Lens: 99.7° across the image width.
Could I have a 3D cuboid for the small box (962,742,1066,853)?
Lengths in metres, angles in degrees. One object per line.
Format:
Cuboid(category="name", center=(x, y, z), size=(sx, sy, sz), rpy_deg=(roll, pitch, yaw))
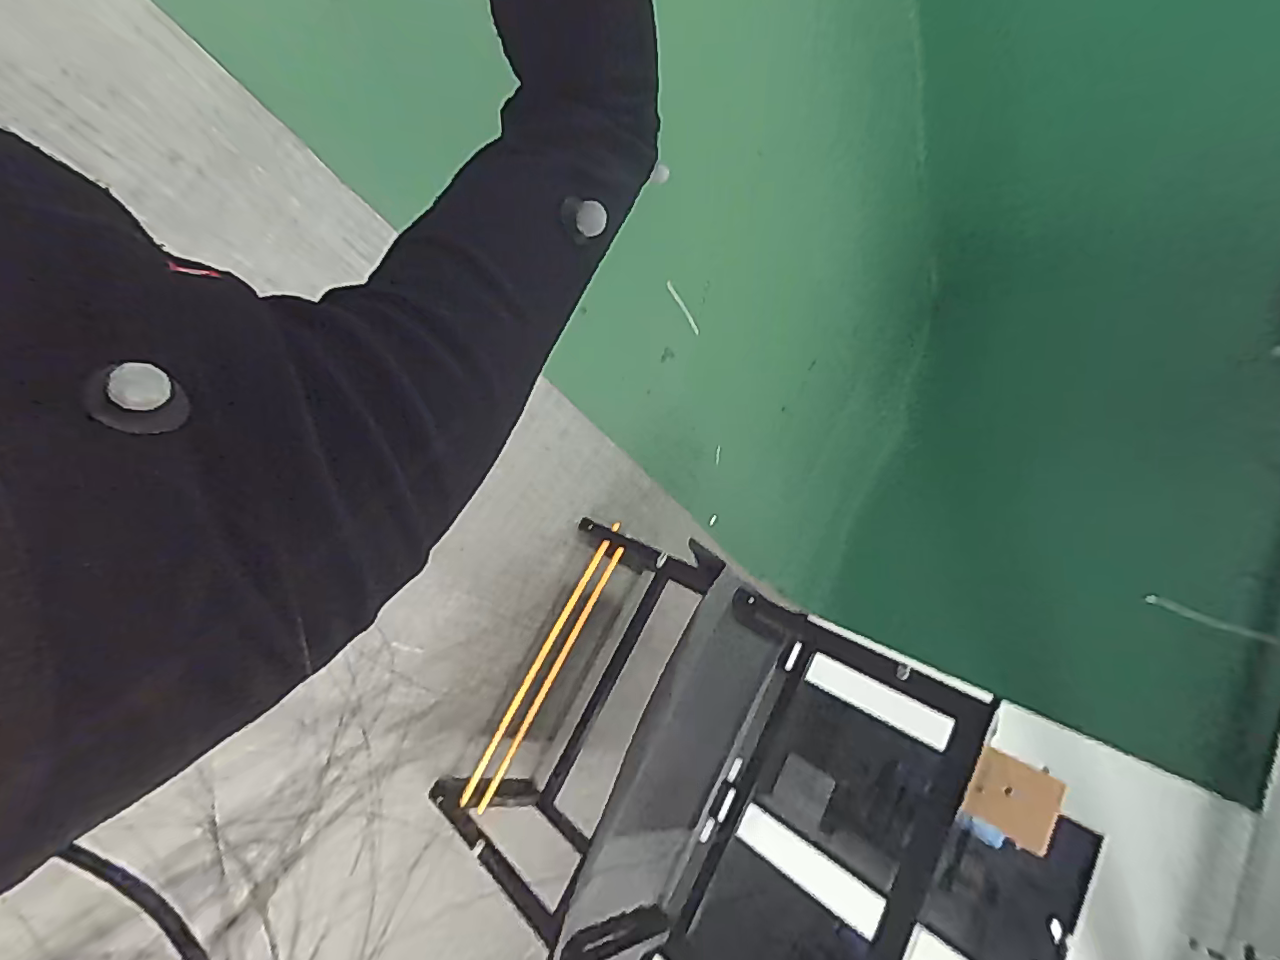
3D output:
Cuboid(category="small box", center=(0.891, 0.754, 1.299), size=(0.179, 0.176, 0.168), rpy_deg=(41, 74, -50))
